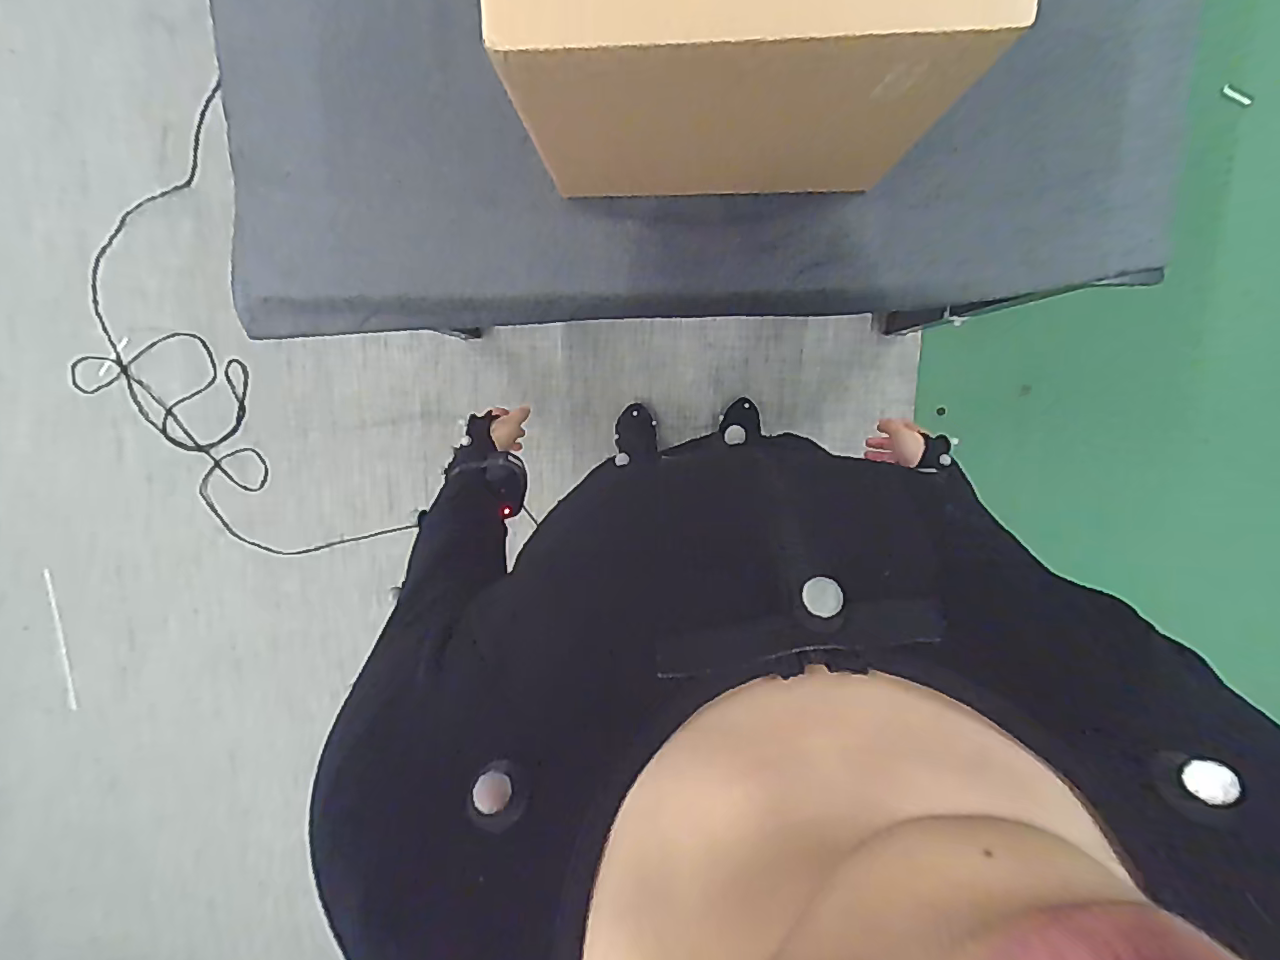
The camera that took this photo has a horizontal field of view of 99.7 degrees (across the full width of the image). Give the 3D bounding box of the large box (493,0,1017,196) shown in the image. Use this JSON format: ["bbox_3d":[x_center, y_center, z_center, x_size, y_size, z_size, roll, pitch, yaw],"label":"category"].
[{"bbox_3d":[0.084,-0.508,0.539,0.408,0.320,0.320,-1,99,2],"label":"large box"}]
